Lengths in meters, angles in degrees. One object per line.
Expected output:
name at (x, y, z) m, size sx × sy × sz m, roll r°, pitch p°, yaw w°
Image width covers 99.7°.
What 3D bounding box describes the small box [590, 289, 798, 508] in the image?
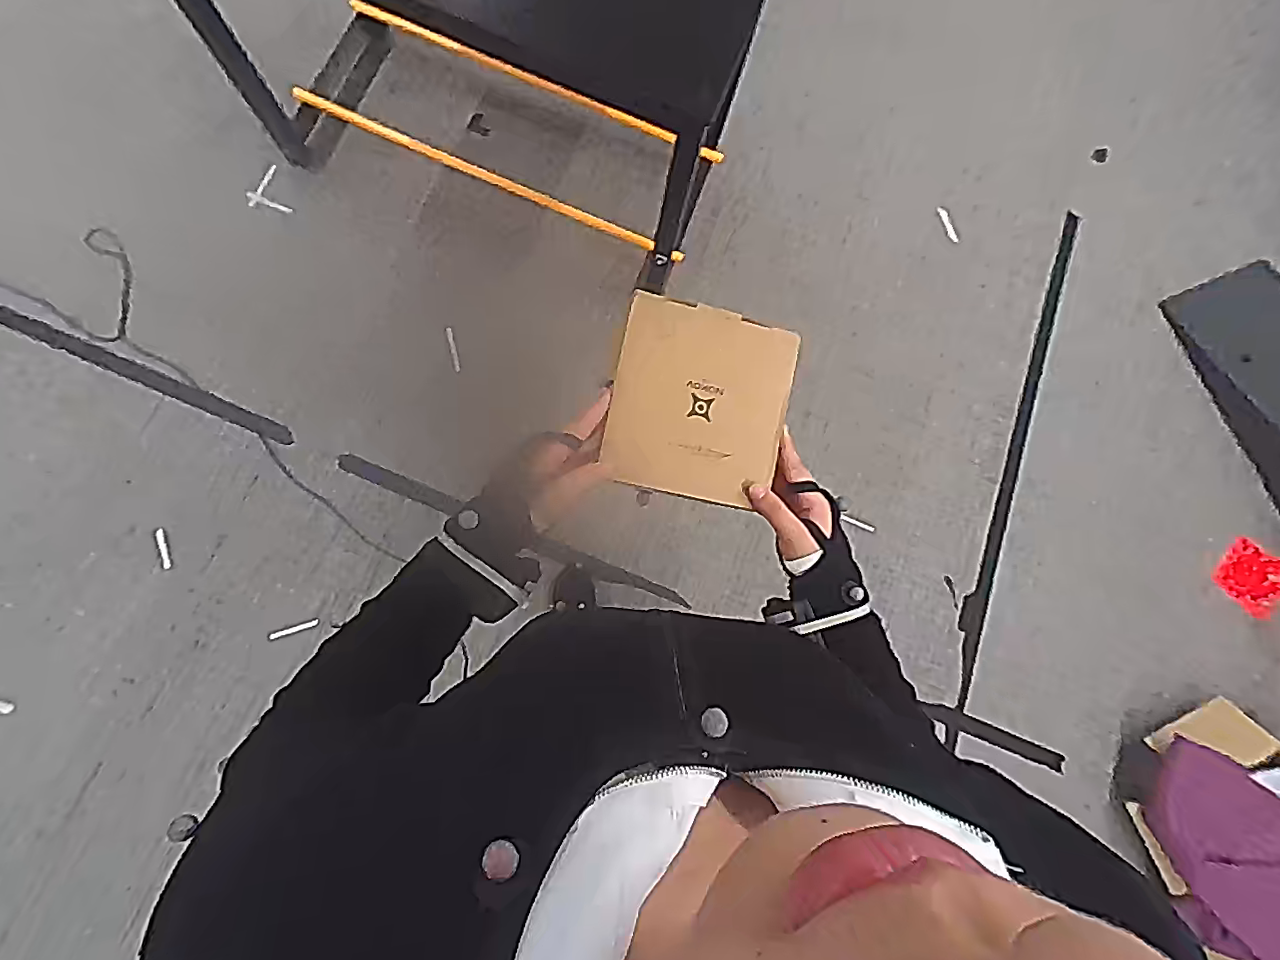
small box at (0.043, -0.074, 0.576) m, size 0.168 × 0.176 × 0.179 m, roll 11°, pitch 90°, yaw -9°
